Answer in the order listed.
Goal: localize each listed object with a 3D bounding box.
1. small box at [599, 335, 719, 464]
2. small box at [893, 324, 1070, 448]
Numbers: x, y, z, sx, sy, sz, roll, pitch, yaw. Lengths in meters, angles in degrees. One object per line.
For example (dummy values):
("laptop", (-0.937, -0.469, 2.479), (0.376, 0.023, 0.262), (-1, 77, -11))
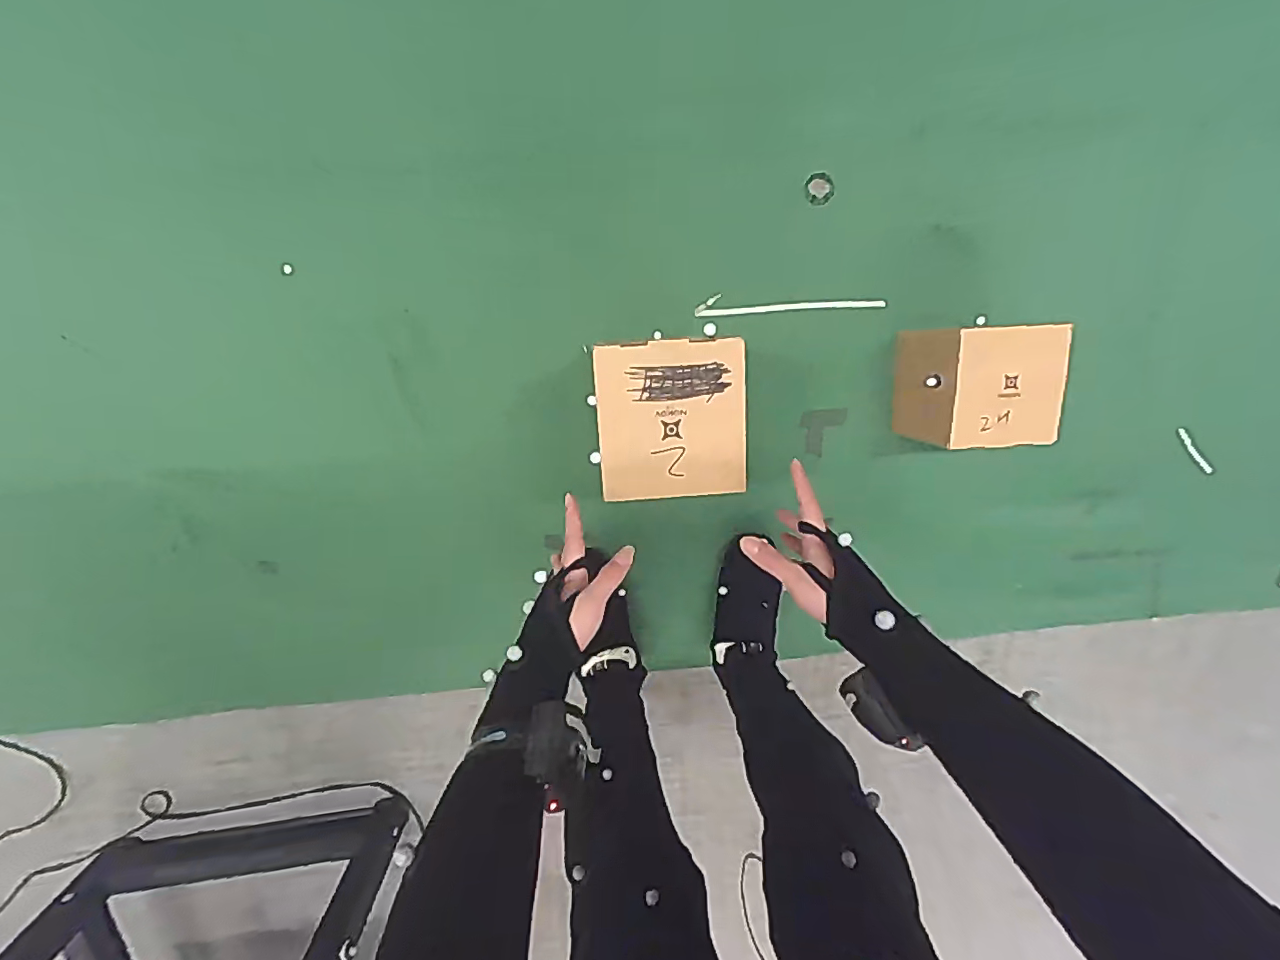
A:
("small box", (0.025, -0.130, 0.831), (0.168, 0.176, 0.179), (-4, 104, -3))
("small box", (0.527, -0.153, 0.860), (0.168, 0.176, 0.179), (-2, 105, -4))
